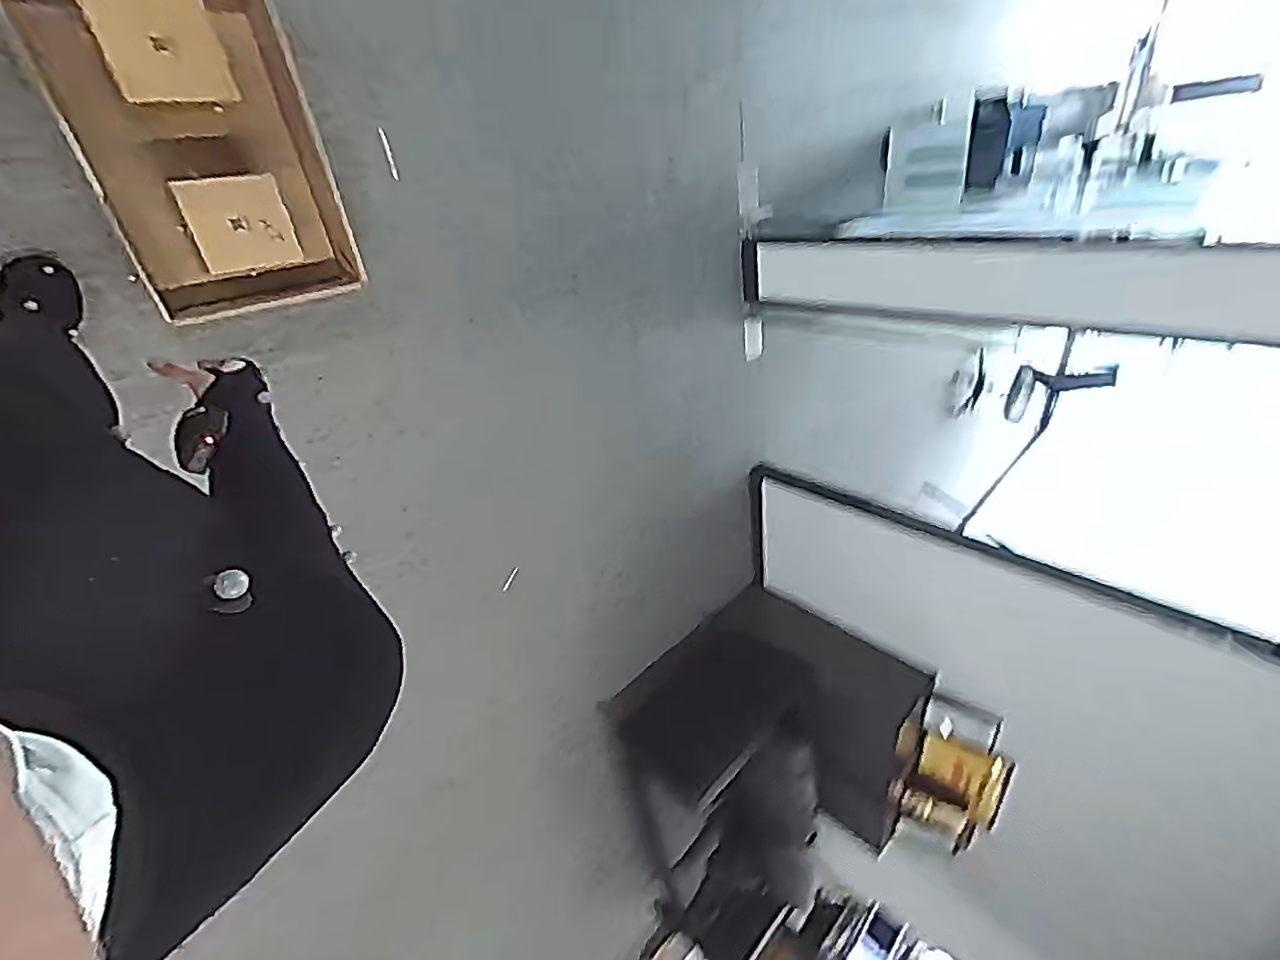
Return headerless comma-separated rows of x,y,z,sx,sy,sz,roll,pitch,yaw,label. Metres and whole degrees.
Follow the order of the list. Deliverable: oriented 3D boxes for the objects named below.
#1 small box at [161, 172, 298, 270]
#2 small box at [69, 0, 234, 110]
-0.853,-0.536,1.124,0.179,0.176,0.168,-28,126,-34,small box
-0.886,-0.783,0.982,0.179,0.176,0.168,-30,128,-34,small box
